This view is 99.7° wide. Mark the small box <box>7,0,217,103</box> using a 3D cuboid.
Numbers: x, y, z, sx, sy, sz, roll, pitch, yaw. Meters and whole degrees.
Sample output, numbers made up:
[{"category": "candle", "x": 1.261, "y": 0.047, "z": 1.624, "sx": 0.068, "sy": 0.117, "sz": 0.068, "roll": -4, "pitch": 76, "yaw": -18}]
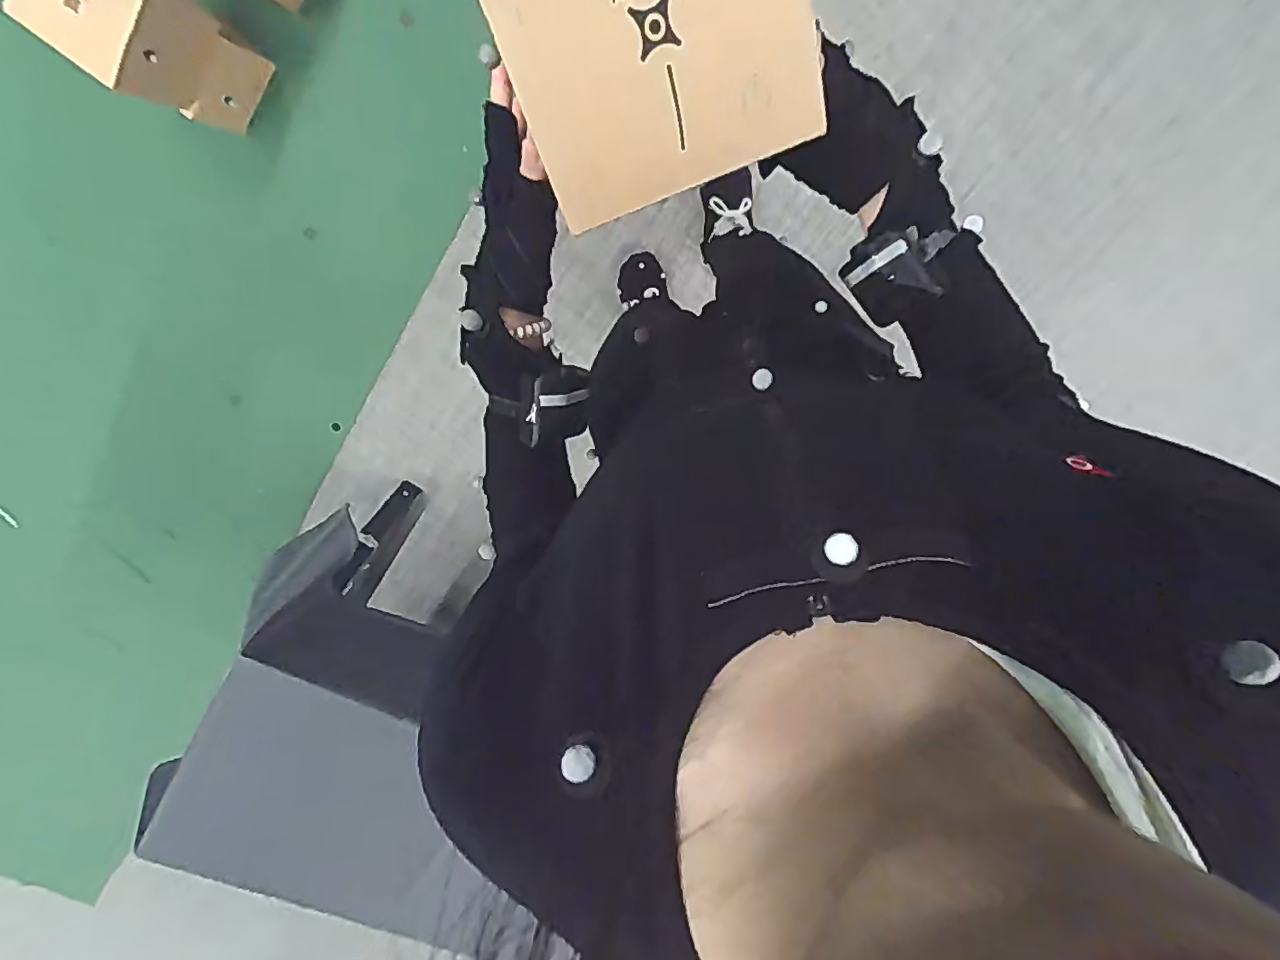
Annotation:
[{"category": "small box", "x": -0.871, "y": -0.783, "z": 0.910, "sx": 0.168, "sy": 0.176, "sz": 0.179, "roll": 37, "pitch": 108, "yaw": -16}]

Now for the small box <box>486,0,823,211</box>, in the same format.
[{"category": "small box", "x": -0.007, "y": -0.294, "z": 0.341, "sx": 0.168, "sy": 0.176, "sz": 0.179, "roll": -20, "pitch": 123, "yaw": 4}]

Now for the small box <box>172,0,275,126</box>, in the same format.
[{"category": "small box", "x": -0.874, "y": -0.837, "z": 1.066, "sx": 0.179, "sy": 0.176, "sz": 0.168, "roll": 38, "pitch": 107, "yaw": -16}]

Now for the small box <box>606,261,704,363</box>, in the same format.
[{"category": "small box", "x": 0.032, "y": -0.411, "z": 1.314, "sx": 0.179, "sy": 0.176, "sz": 0.168, "roll": 31, "pitch": 121, "yaw": 2}]
